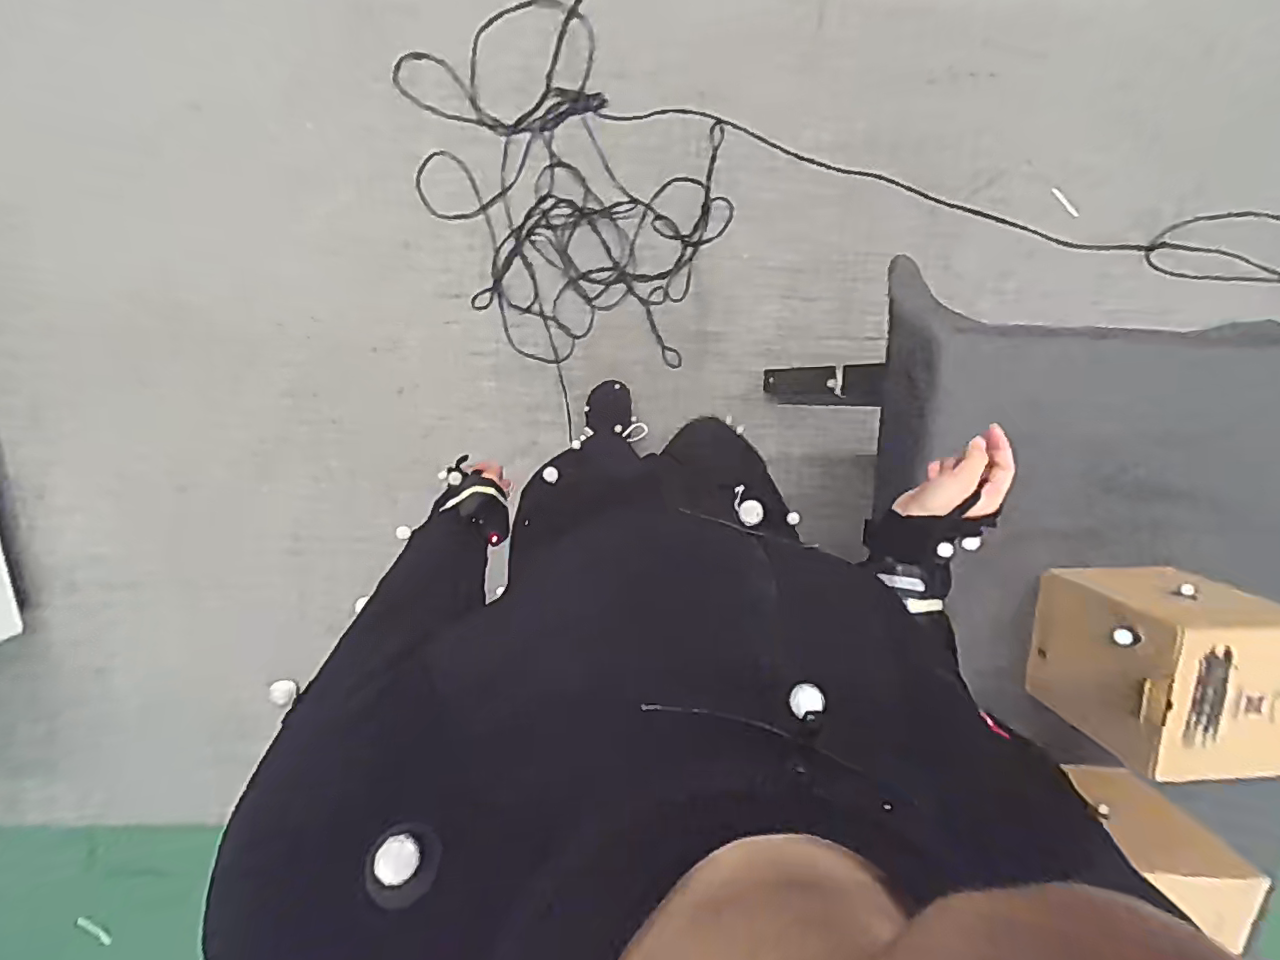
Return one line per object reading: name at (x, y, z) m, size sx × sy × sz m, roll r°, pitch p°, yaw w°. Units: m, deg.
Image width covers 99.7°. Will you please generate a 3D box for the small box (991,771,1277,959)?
small box at (0.577, 0.485, 0.660) m, size 0.179 × 0.176 × 0.168 m, roll 6°, pitch 101°, yaw -6°
